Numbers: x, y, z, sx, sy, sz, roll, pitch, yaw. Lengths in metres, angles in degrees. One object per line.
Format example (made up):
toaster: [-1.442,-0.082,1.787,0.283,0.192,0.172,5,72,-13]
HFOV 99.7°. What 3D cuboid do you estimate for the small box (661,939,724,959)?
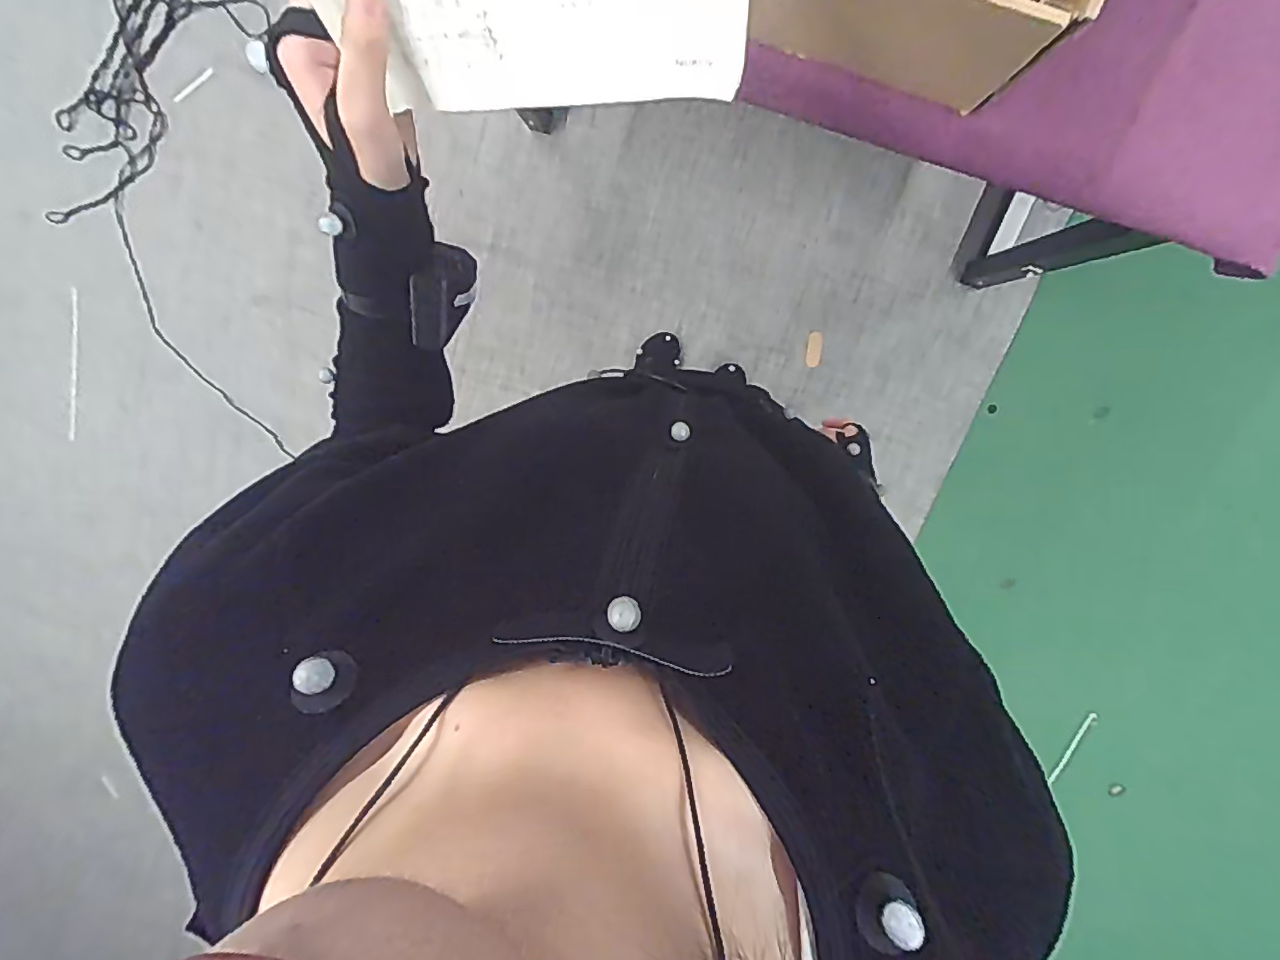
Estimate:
small box: [0.131,1.334,1.385,0.168,0.176,0.179,6,102,6]

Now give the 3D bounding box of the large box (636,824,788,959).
large box: [0.198,1.300,1.622,0.408,0.320,0.320,5,103,4]
